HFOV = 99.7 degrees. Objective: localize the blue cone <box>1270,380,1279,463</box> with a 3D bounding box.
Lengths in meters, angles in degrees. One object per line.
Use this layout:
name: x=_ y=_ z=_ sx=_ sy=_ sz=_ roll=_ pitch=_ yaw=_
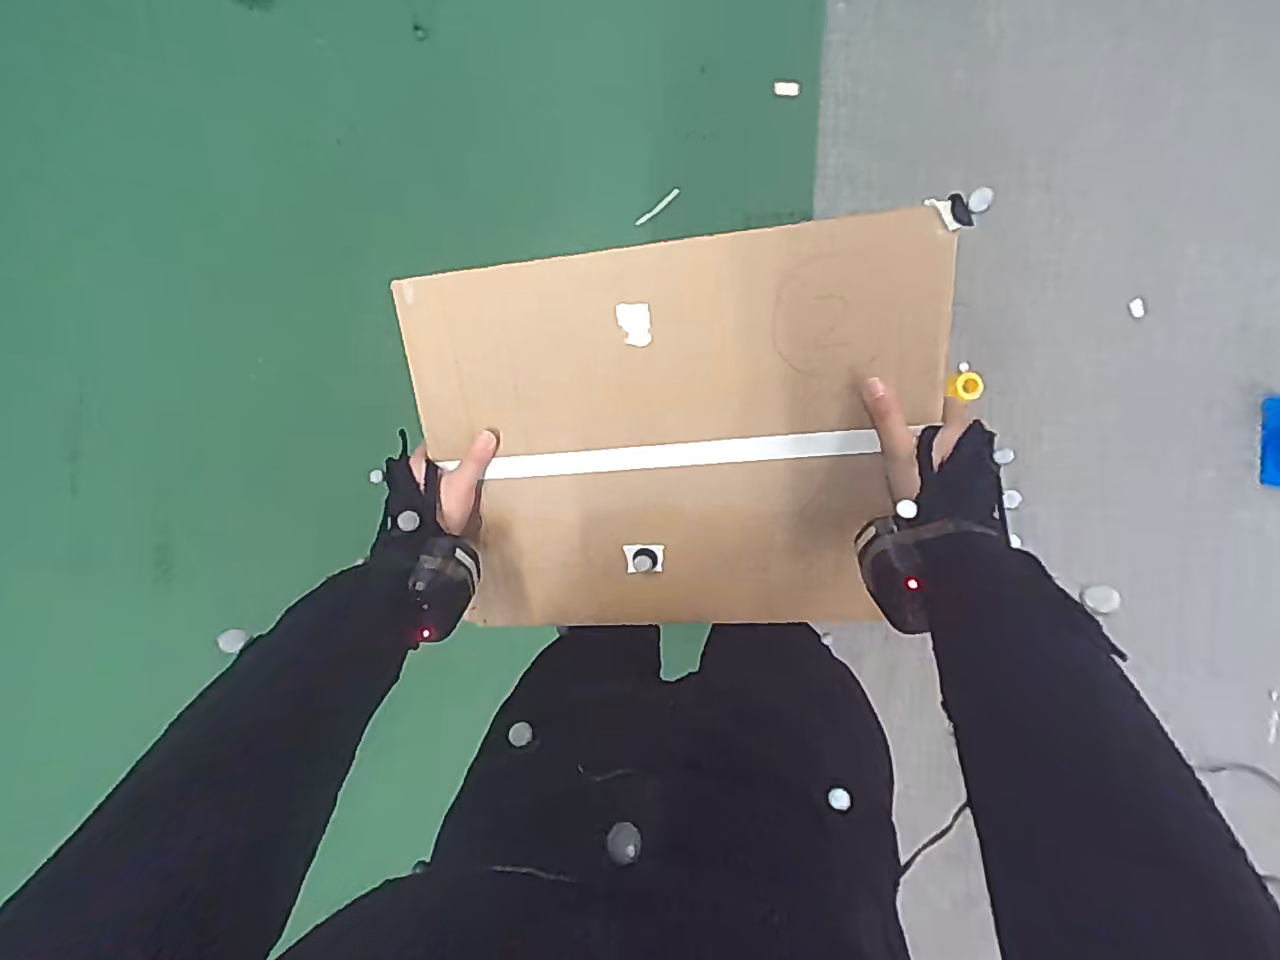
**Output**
blue cone: x=1.395 y=-0.119 z=0.953 sx=0.193 sy=0.380 sz=0.192 roll=1 pitch=90 yaw=3
